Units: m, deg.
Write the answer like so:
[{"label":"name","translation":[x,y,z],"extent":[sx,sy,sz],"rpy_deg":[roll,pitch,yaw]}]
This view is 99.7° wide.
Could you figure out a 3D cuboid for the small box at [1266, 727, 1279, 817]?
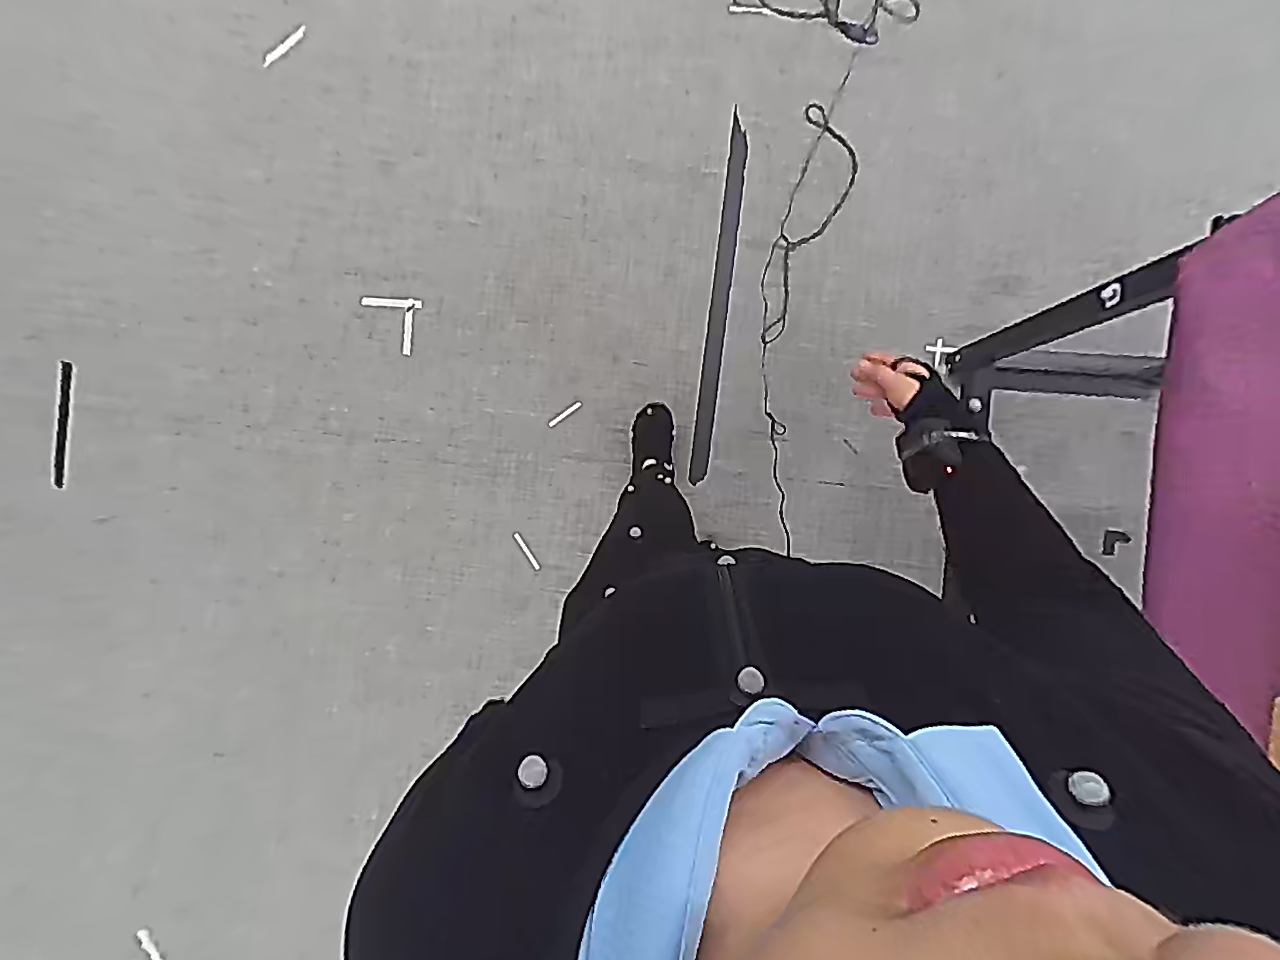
[{"label":"small box","translation":[0.934,0.378,0.642],"extent":[0.179,0.176,0.168],"rpy_deg":[6,91,2]}]
